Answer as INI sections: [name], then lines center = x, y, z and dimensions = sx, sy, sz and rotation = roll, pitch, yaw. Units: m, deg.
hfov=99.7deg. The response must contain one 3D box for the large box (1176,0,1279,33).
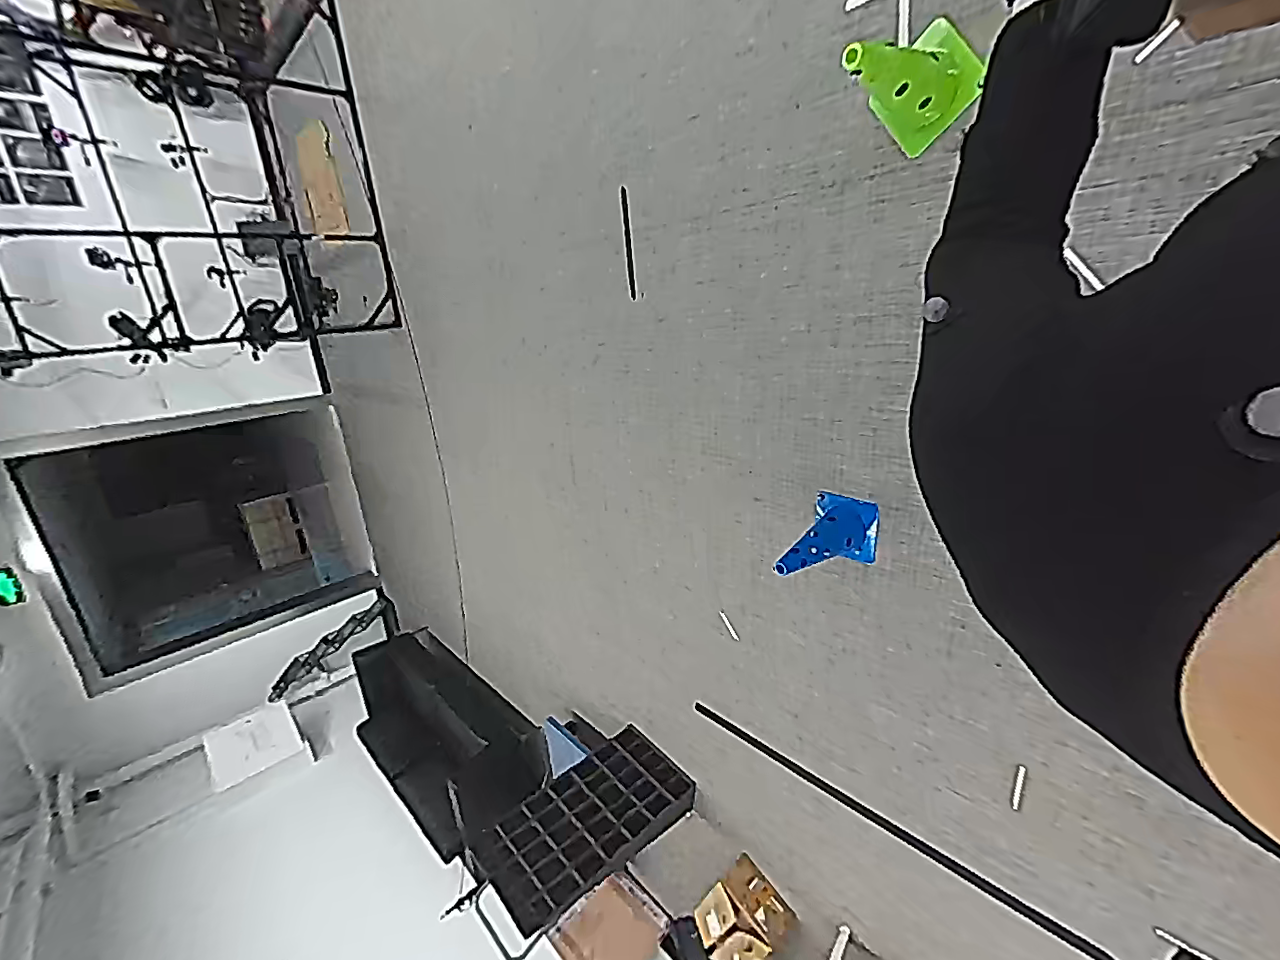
[large box]
center = 0.526, -0.473, 0.226
dimensions = 0.408, 0.320, 0.320
rotation = 14, 122, 44

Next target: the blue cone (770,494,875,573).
[blue cone]
center = 0.515, 0.190, 1.584
dimensions = 0.192, 0.380, 0.193
rotation = 19, 119, 45

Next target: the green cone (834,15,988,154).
[green cone]
center = 0.516, -0.841, 1.116
dimensions = 0.200, 0.368, 0.202
rotation = 61, 142, 11
